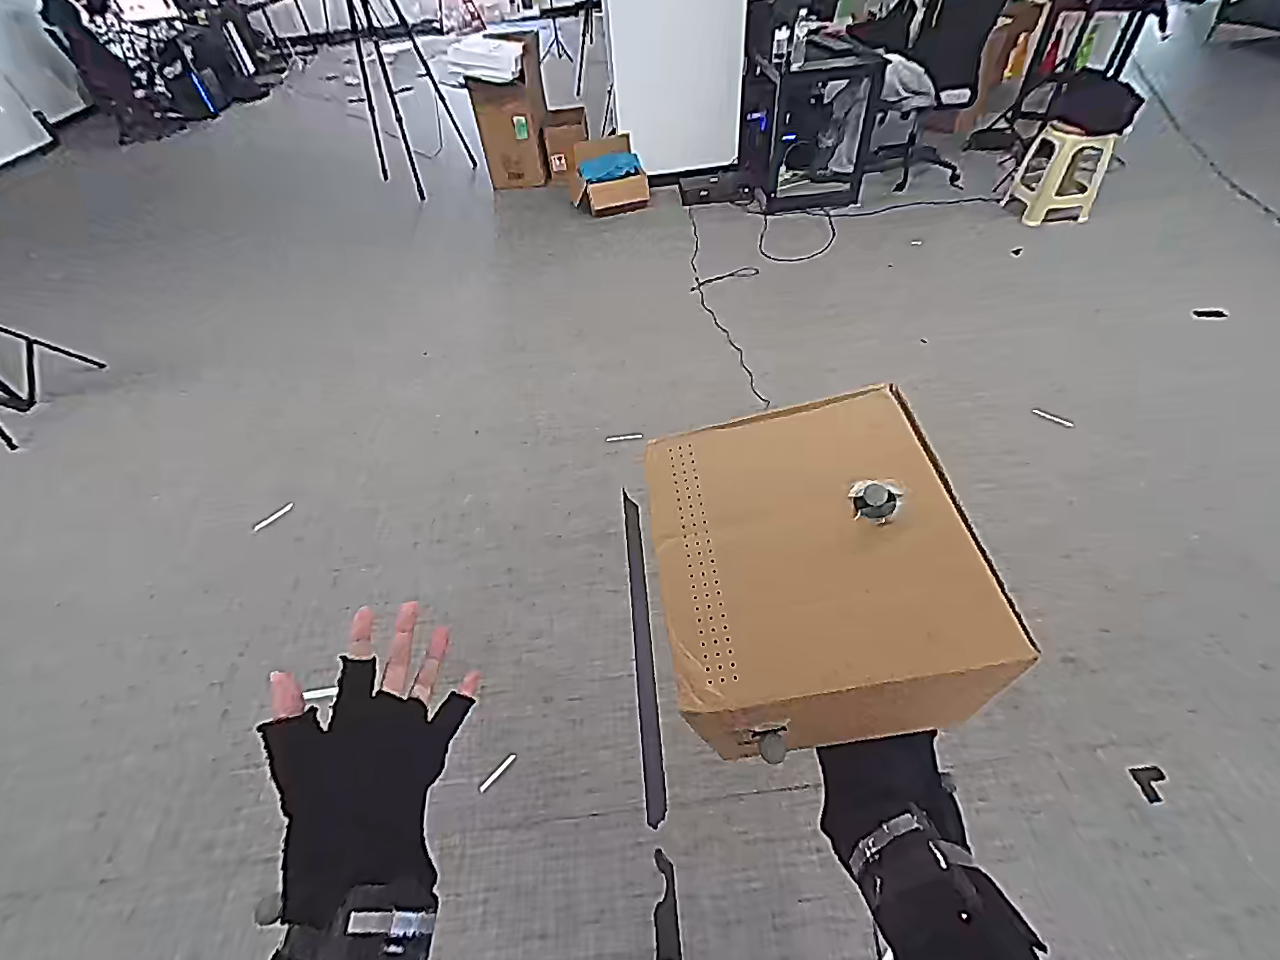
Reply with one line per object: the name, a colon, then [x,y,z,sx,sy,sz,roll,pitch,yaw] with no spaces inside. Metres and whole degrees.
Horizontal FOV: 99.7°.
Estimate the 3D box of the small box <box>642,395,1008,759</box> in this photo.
small box: [0.103,0.075,0.373,0.176,0.168,0.179,-14,54,10]
